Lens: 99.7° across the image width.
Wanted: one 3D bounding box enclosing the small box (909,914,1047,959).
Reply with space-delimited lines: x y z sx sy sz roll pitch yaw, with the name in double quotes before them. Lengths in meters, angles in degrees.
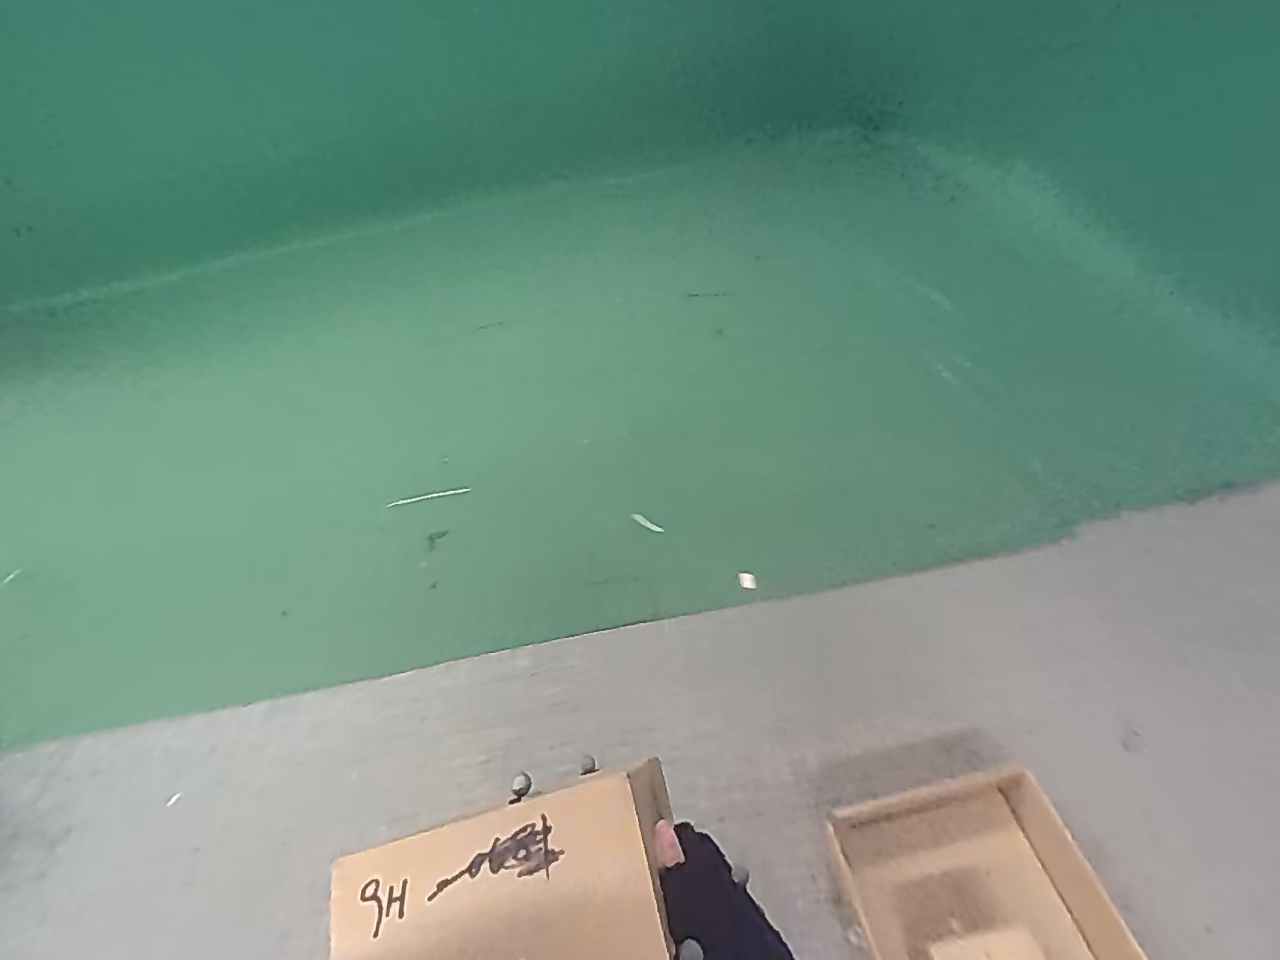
"small box" 0.570 0.835 0.882 0.168 0.176 0.179 -12 48 0
